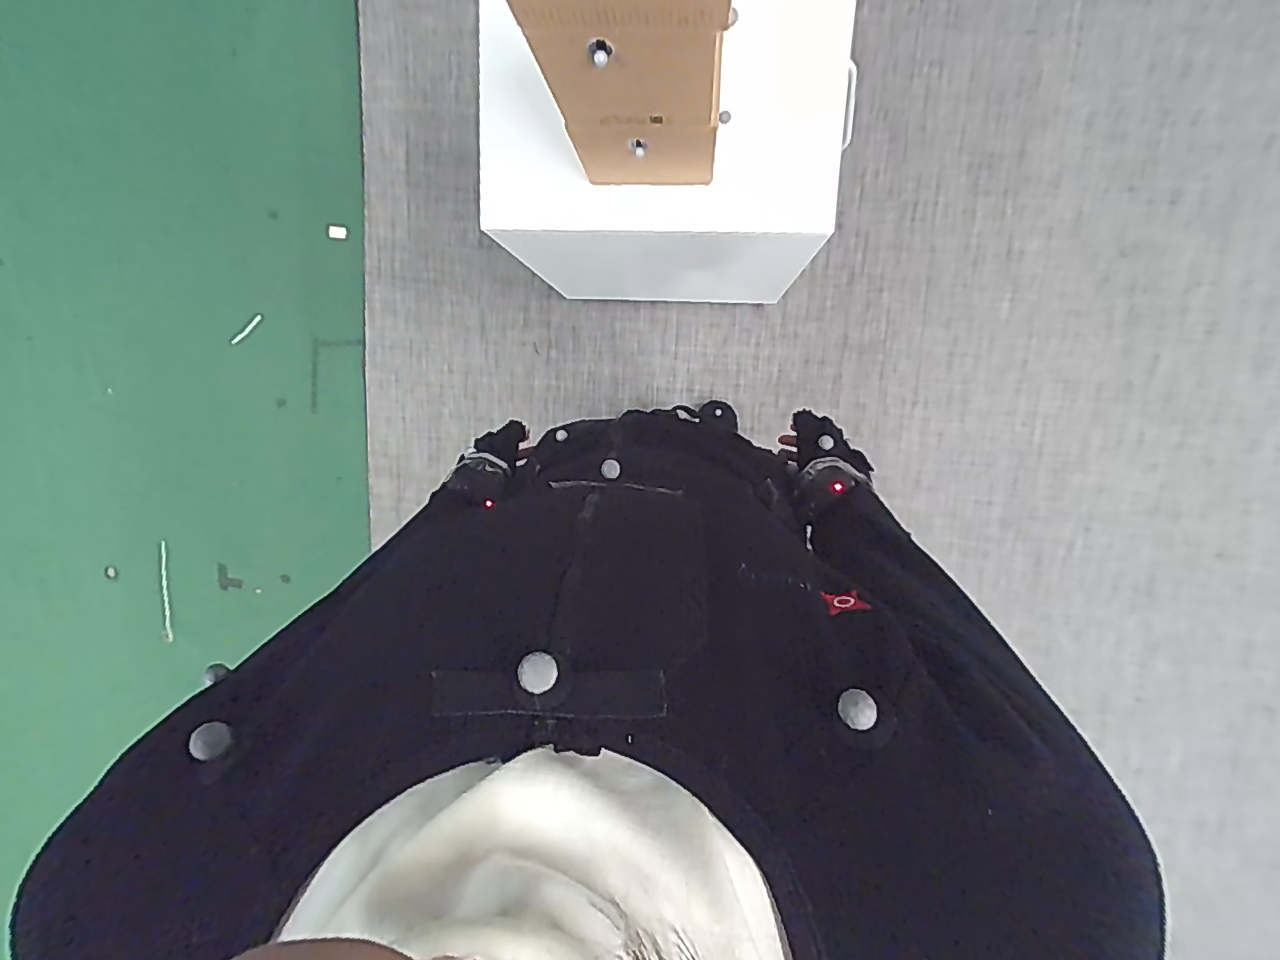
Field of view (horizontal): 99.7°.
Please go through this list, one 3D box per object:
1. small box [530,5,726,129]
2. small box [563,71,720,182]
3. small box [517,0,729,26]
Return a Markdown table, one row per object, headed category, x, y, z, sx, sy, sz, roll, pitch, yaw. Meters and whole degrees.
| category | x | y | z | sx | sy | sz | roll | pitch | yaw |
| --- | --- | --- | --- | --- | --- | --- | --- | --- | --- |
| small box | -0.004 | -0.471 | 0.517 | 0.168 | 0.176 | 0.179 | 2 | 99 | 5 |
| small box | 0.010 | -0.492 | 0.676 | 0.179 | 0.176 | 0.168 | 3 | 99 | 5 |
| small box | -0.018 | -0.442 | 0.353 | 0.179 | 0.176 | 0.168 | 5 | 99 | 5 |
